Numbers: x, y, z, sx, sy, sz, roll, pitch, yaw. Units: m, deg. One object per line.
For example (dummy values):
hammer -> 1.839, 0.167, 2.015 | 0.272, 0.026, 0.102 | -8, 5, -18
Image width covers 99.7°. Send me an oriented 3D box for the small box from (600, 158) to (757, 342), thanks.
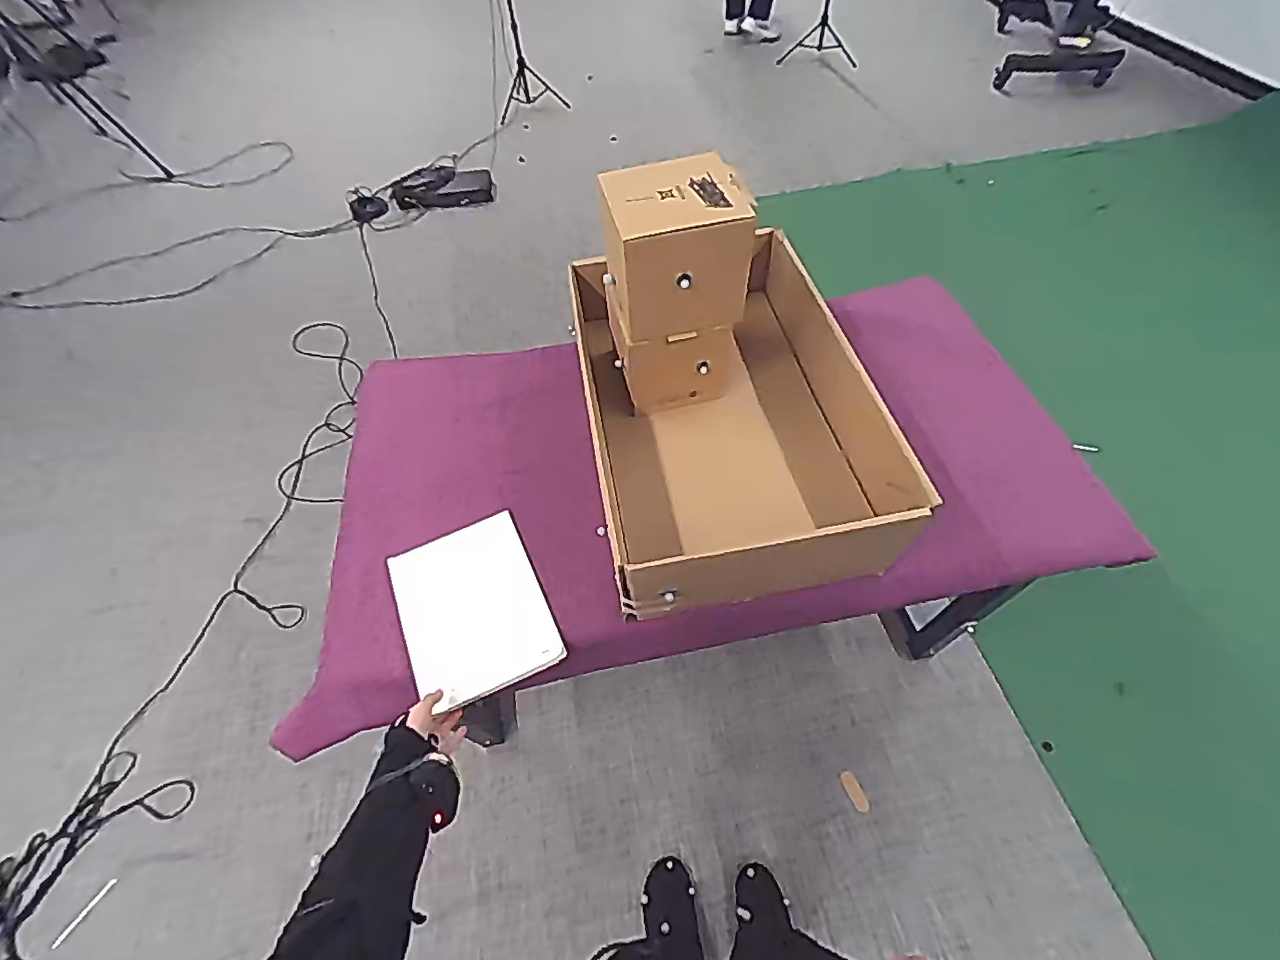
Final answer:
small box -> 0.048, -0.325, 0.776 | 0.179, 0.176, 0.168 | -13, 57, -5
